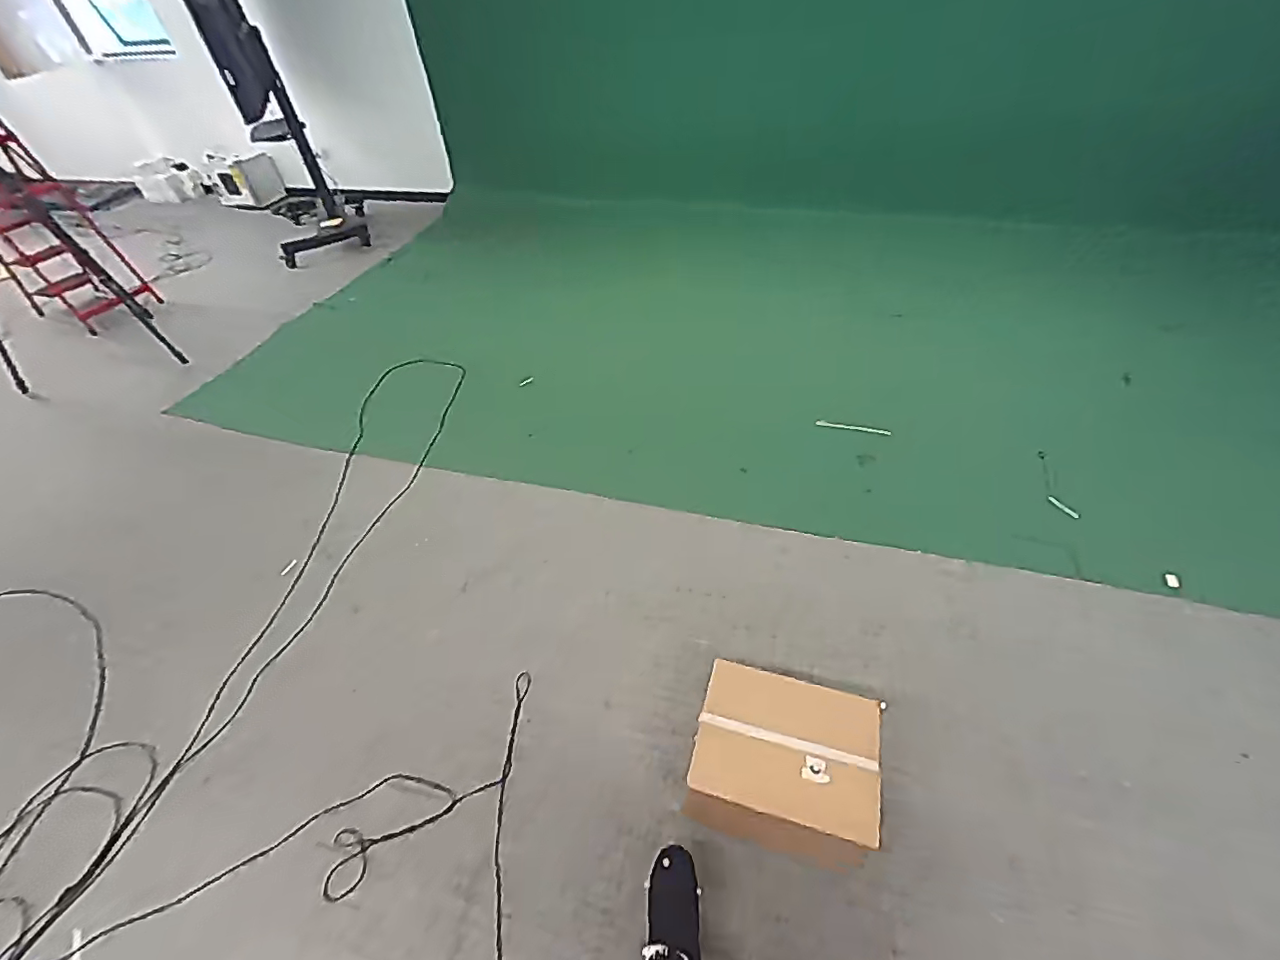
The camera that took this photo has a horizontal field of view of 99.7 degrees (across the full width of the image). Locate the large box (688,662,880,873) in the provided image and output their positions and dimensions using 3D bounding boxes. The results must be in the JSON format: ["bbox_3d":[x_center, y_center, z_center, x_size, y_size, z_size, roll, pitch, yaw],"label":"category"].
[{"bbox_3d":[0.345,0.708,1.345,0.408,0.320,0.320,11,47,14],"label":"large box"}]
